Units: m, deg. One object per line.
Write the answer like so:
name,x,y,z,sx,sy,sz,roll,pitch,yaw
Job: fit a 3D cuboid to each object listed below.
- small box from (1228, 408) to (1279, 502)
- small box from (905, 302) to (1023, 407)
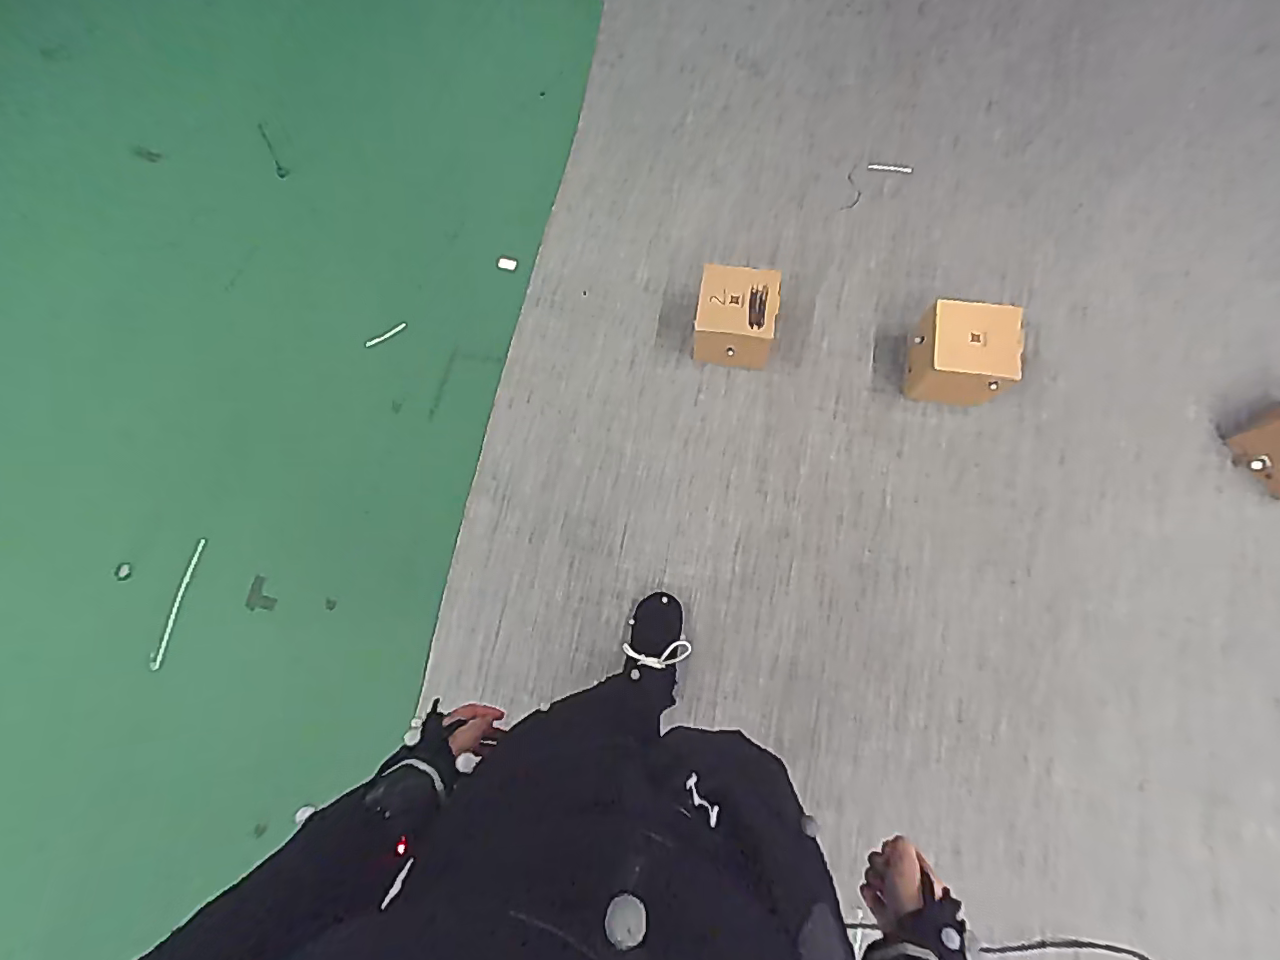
small box,1.391,-0.075,1.099,0.179,0.176,0.168,-32,75,-2
small box,0.709,-0.271,1.200,0.179,0.176,0.168,8,78,6
